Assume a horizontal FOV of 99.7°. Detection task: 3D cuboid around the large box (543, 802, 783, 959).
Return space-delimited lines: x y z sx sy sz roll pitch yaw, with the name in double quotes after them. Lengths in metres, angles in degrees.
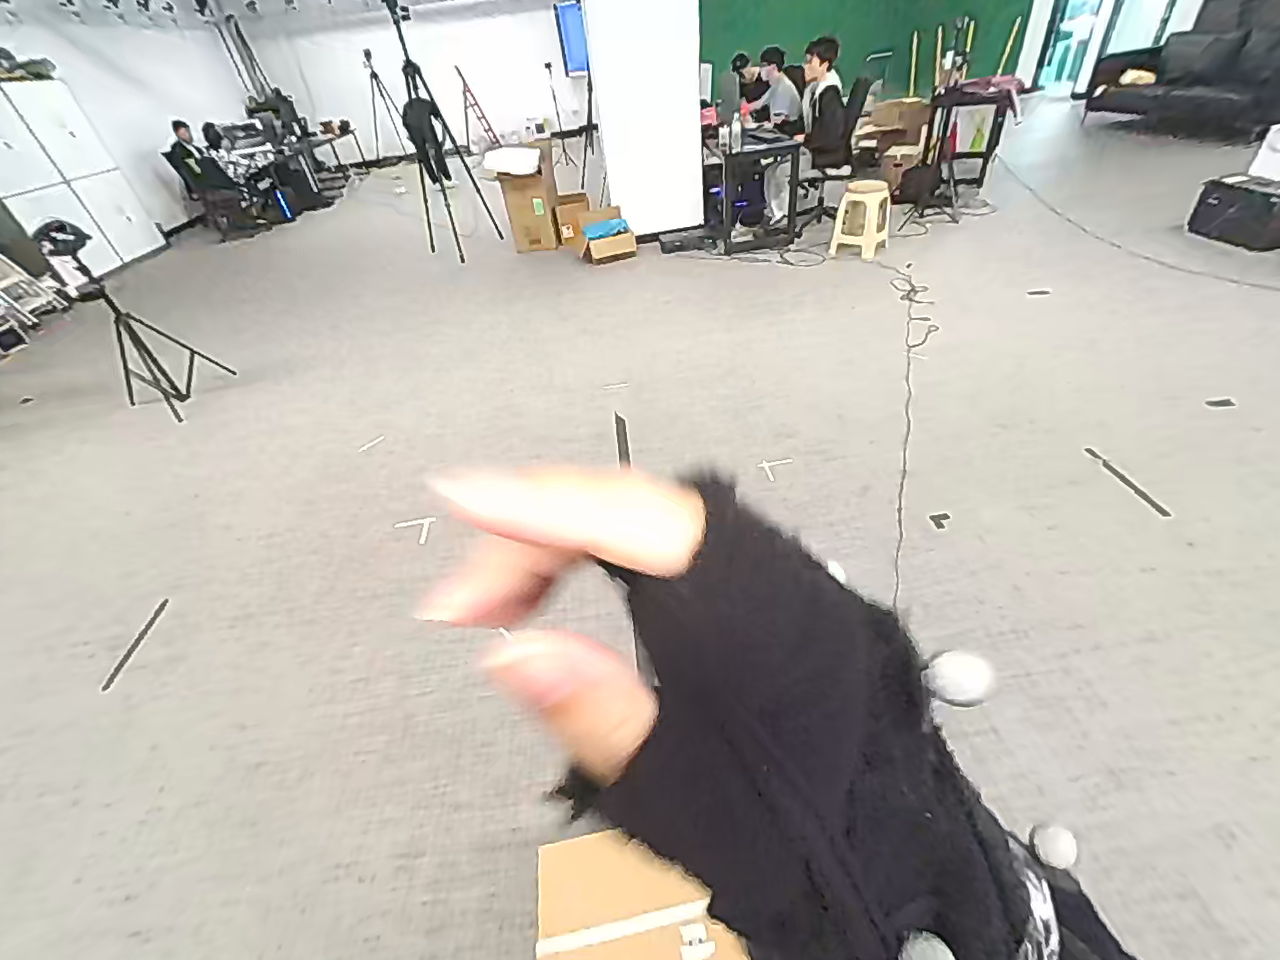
0.044 0.895 1.049 0.408 0.320 0.320 -11 39 -3 "large box"
